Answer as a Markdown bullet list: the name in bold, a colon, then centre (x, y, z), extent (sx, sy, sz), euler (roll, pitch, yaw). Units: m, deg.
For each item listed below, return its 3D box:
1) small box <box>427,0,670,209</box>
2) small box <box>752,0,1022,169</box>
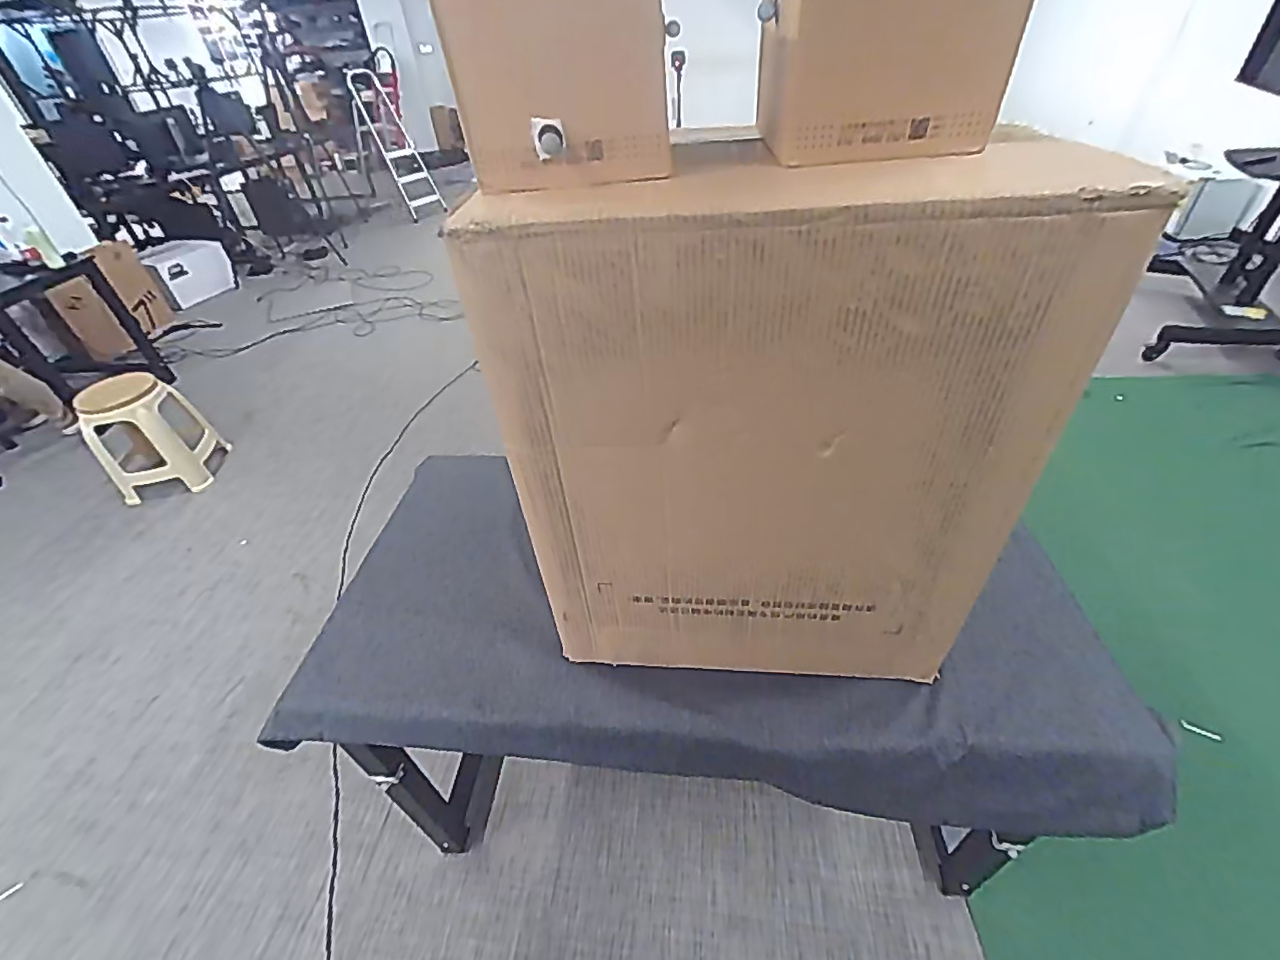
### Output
- **small box**: centre (-0.064, -0.354, 0.469), extent (0.168, 0.176, 0.179), euler (-5, 43, 6)
- **small box**: centre (0.189, -0.374, 0.453), extent (0.168, 0.176, 0.179), euler (-4, 42, 4)
